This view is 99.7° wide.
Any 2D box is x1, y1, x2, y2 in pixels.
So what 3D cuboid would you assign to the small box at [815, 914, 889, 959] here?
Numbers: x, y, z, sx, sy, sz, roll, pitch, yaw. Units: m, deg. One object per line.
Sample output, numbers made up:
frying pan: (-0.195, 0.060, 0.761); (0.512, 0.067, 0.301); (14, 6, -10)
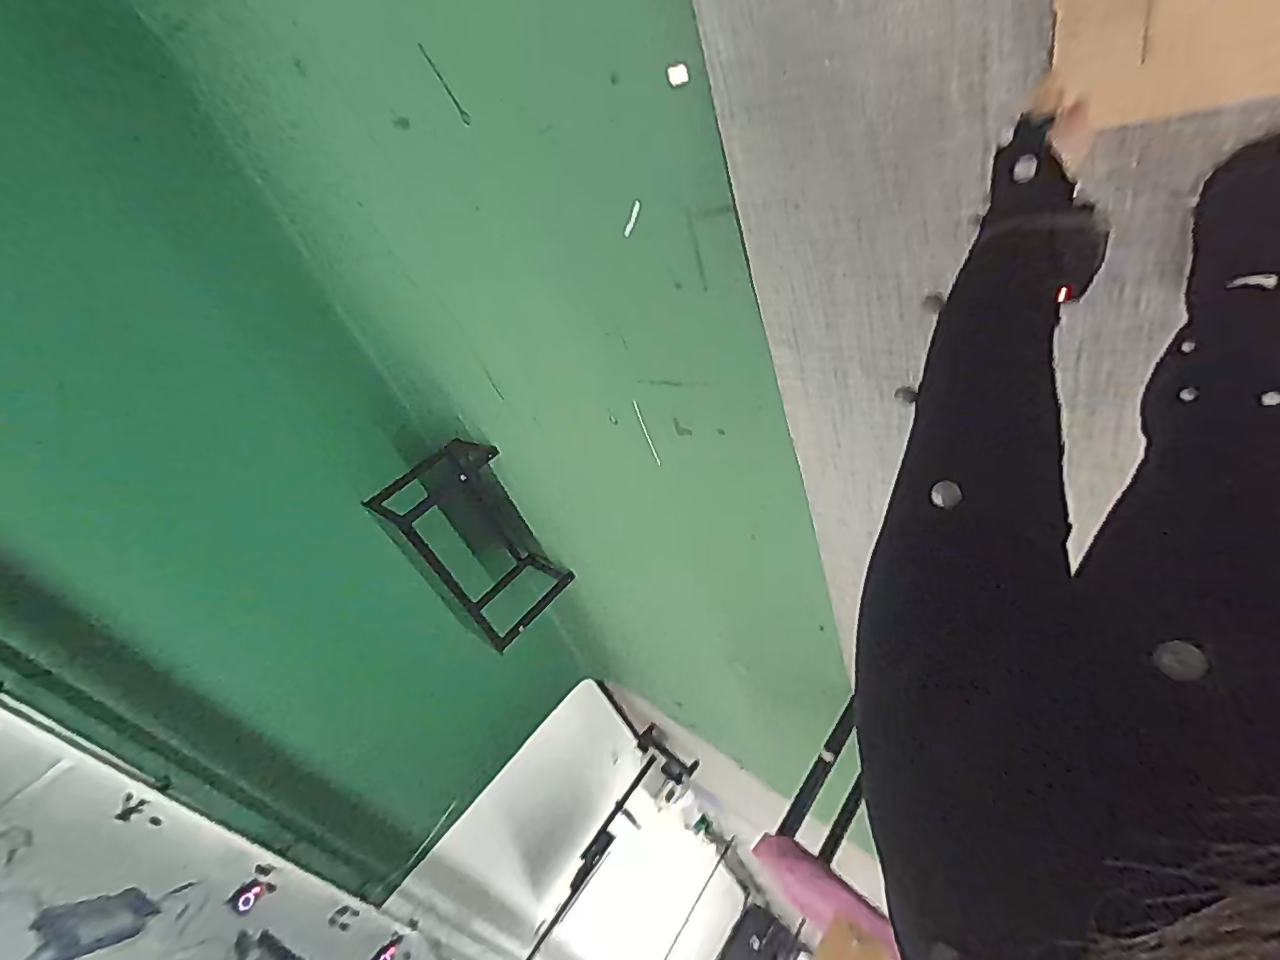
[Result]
small box: (0.672, 1.530, 1.702); (0.168, 0.176, 0.179); (15, 139, 44)
